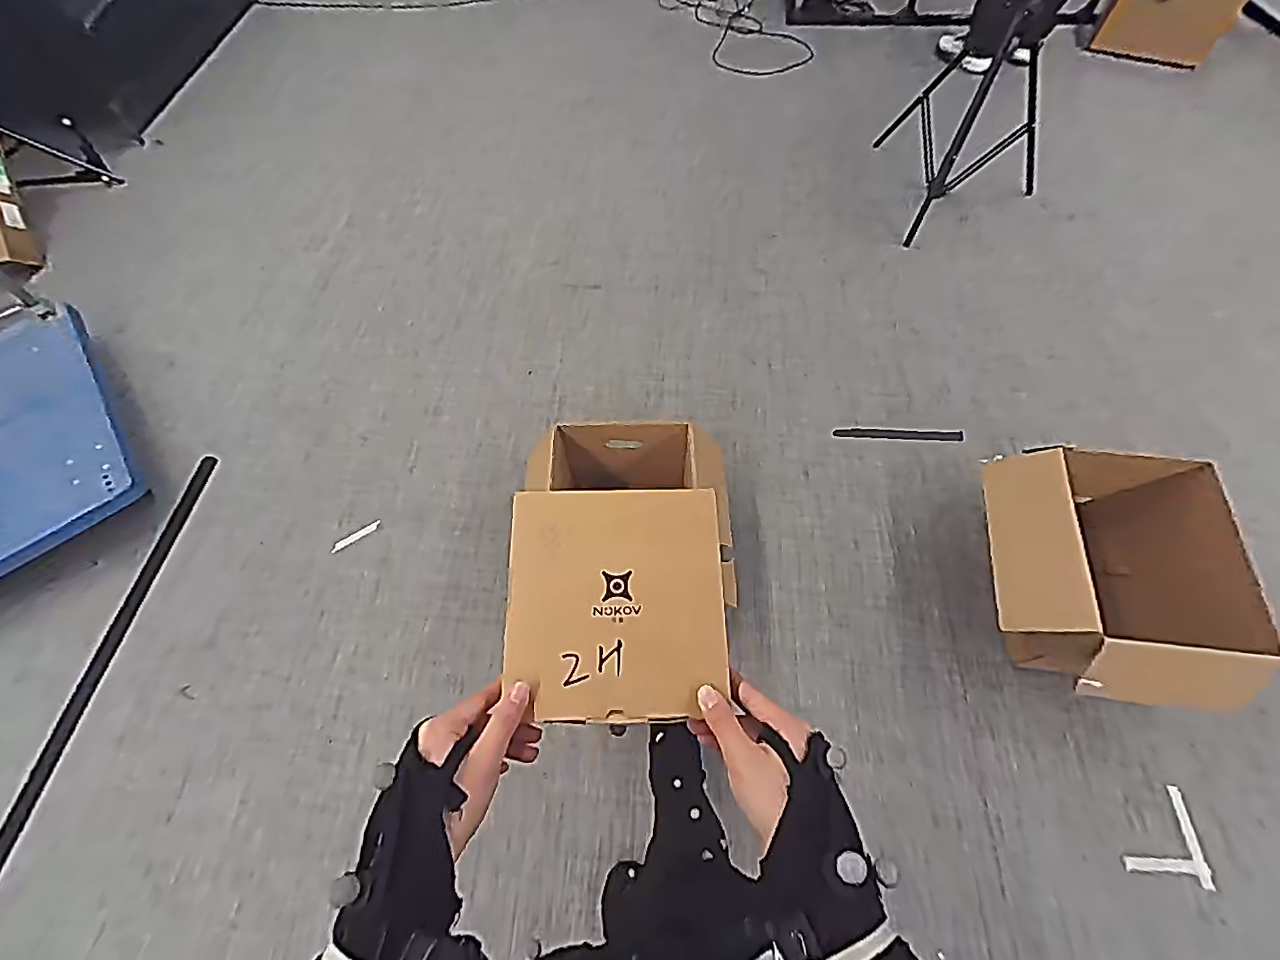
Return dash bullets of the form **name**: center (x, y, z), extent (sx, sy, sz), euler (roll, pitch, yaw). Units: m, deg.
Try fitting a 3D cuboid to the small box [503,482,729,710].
- **small box**: center (-0.020, 0.112, 0.491), extent (0.168, 0.176, 0.179), euler (-1, 69, -1)
